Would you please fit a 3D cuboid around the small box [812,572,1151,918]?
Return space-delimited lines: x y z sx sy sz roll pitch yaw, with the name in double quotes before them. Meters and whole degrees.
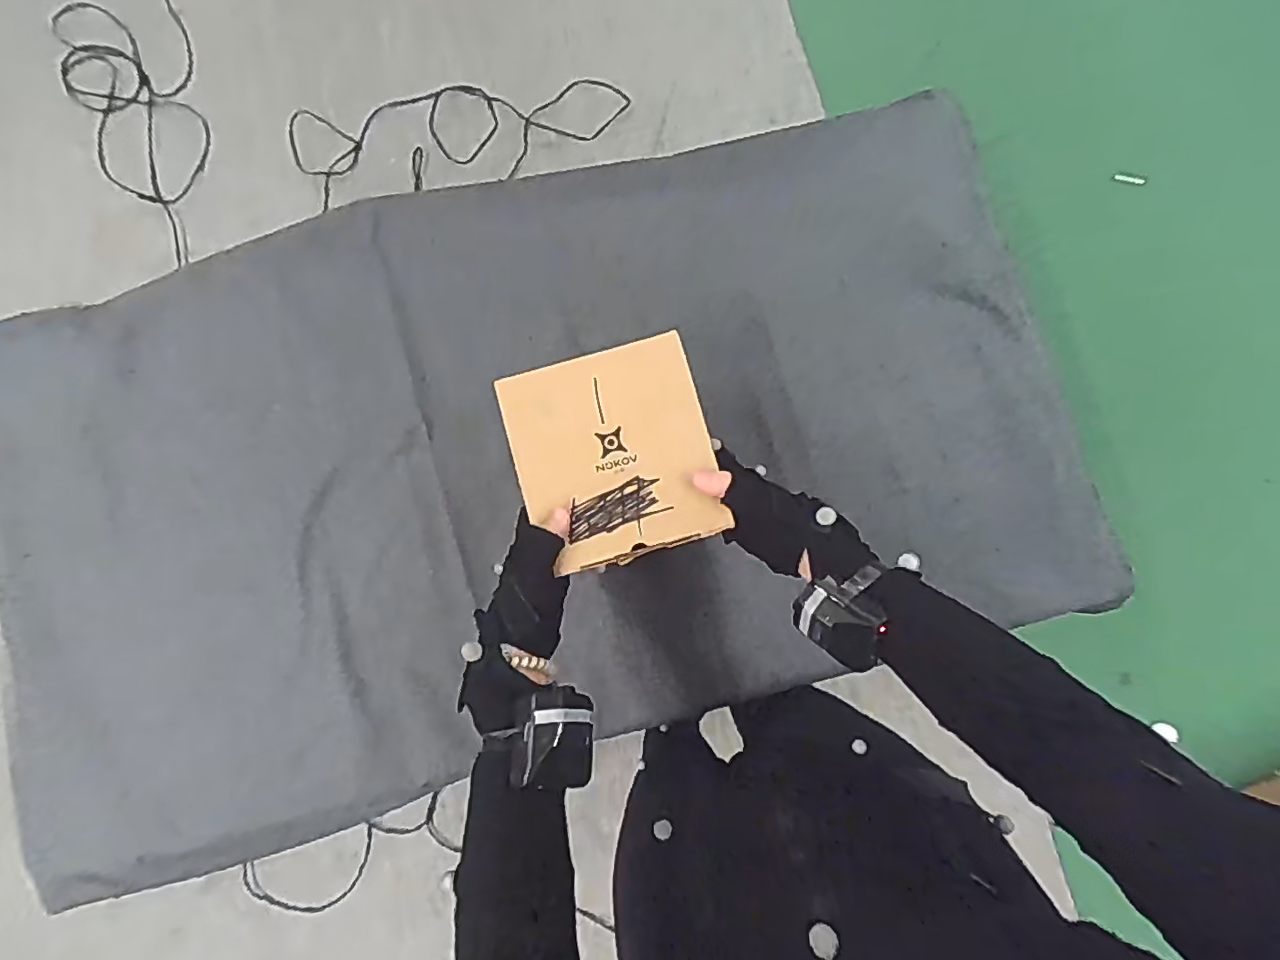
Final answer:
"small box" 0.271 0.179 0.434 0.176 0.168 0.179 -7 85 -38

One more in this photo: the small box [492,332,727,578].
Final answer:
"small box" -0.023 -0.017 0.531 0.168 0.176 0.179 -16 84 0
